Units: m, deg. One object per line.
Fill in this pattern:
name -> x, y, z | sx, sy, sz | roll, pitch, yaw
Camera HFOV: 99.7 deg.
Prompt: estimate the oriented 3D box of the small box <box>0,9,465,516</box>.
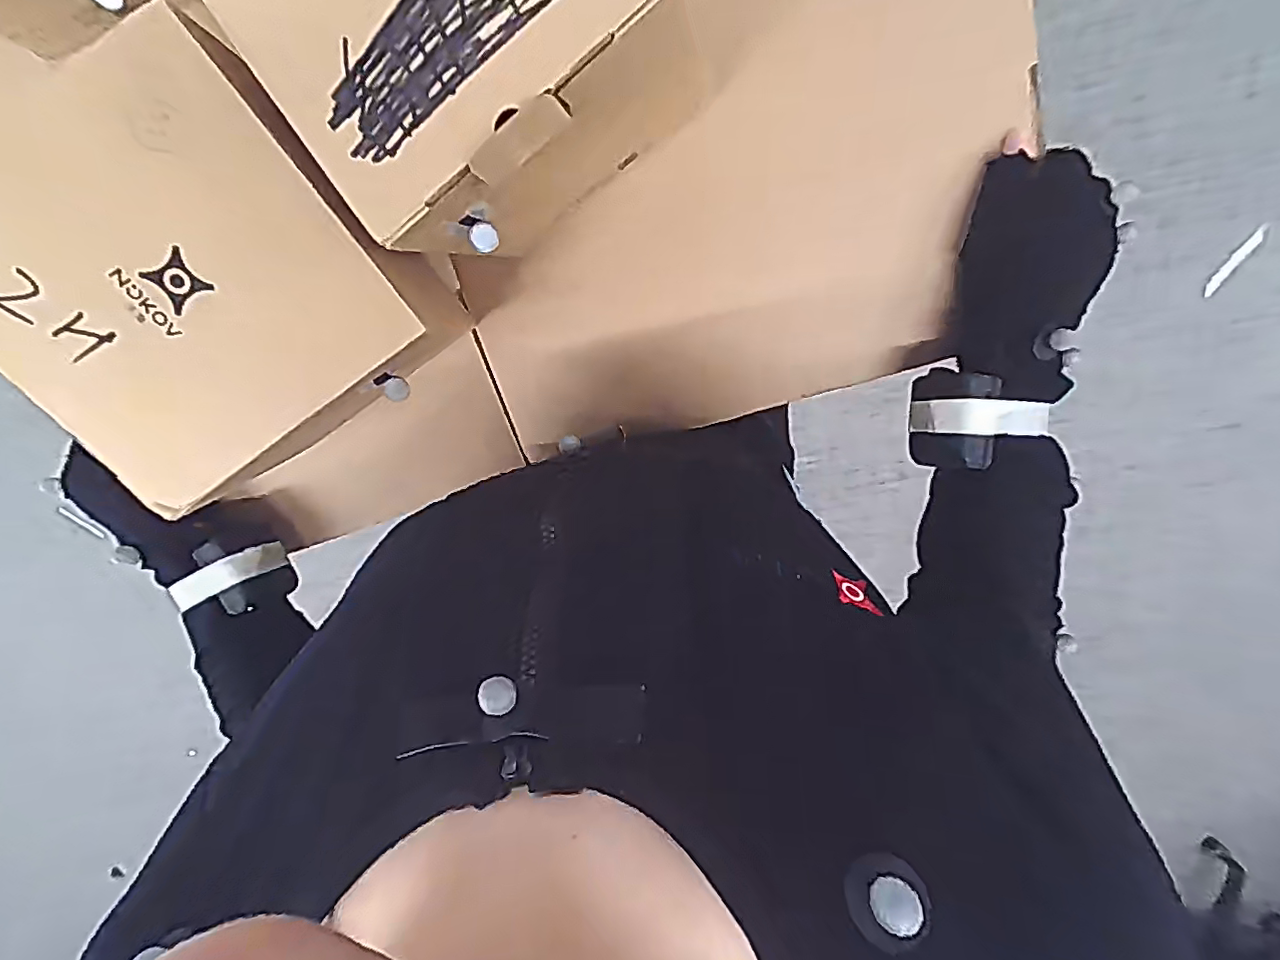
small box -> -0.228, -0.114, 0.332 | 0.179, 0.176, 0.168 | -35, 108, 4
